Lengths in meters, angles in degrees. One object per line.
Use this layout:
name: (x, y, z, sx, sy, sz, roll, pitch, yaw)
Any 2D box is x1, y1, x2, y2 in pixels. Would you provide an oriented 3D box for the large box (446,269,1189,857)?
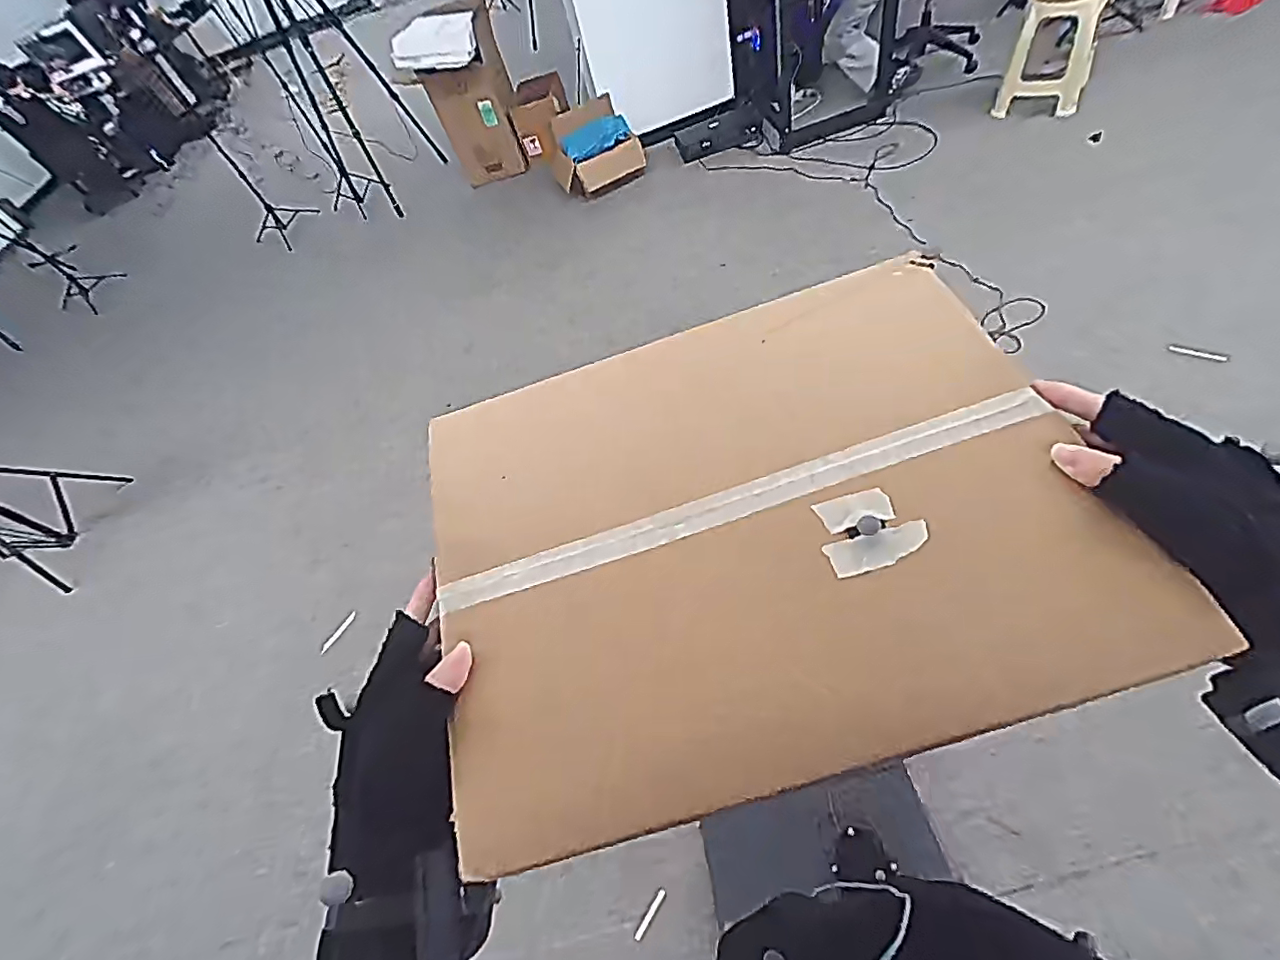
large box: (0.093, 0.089, 0.492, 0.408, 0.320, 0.320, -19, 60, 2)
